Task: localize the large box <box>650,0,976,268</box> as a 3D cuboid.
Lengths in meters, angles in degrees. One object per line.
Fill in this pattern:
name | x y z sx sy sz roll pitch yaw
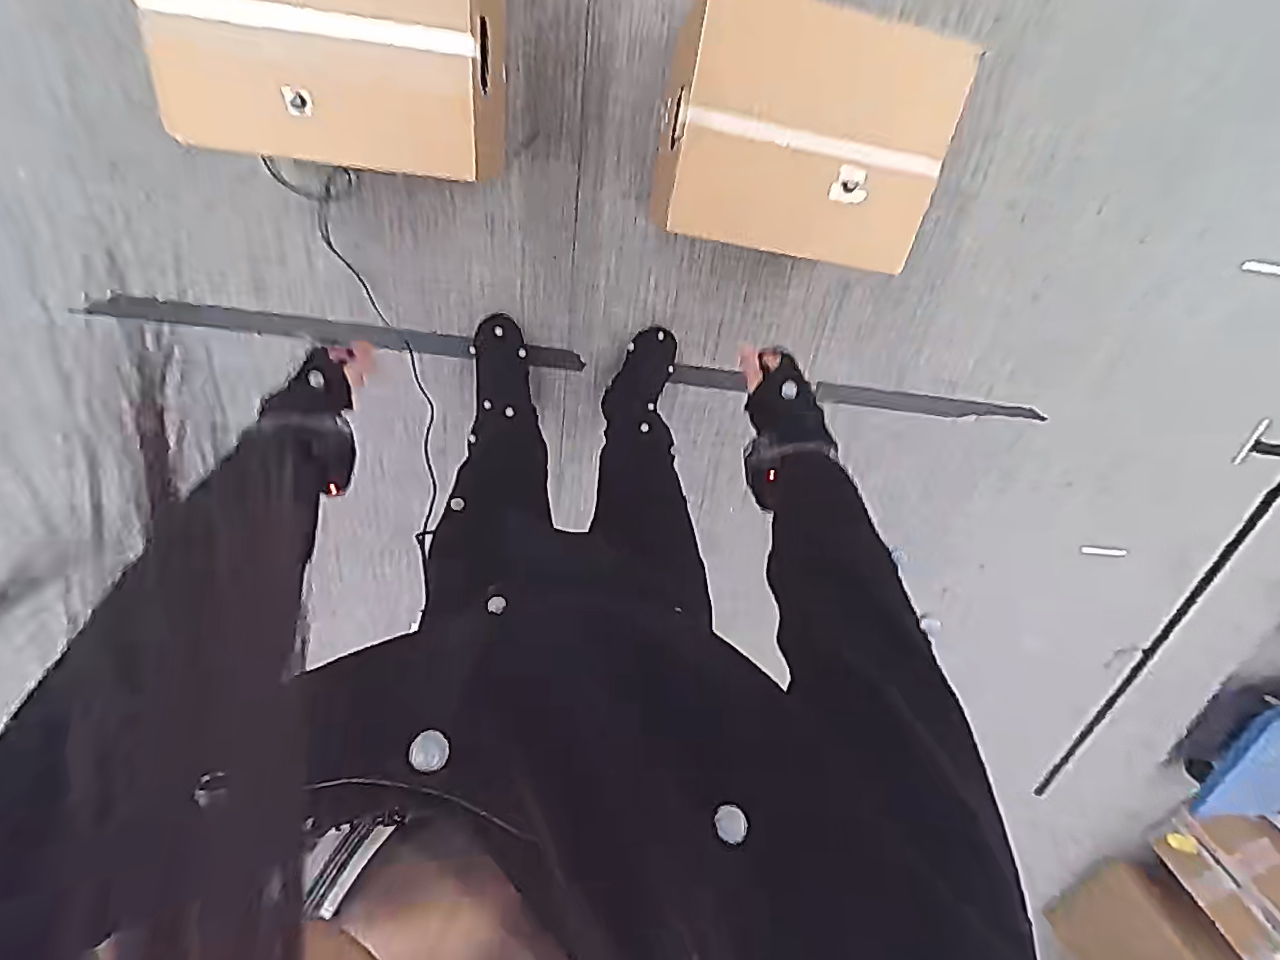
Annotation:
large box | 0.251 -0.579 0.942 0.408 0.320 0.320 7 118 -10
